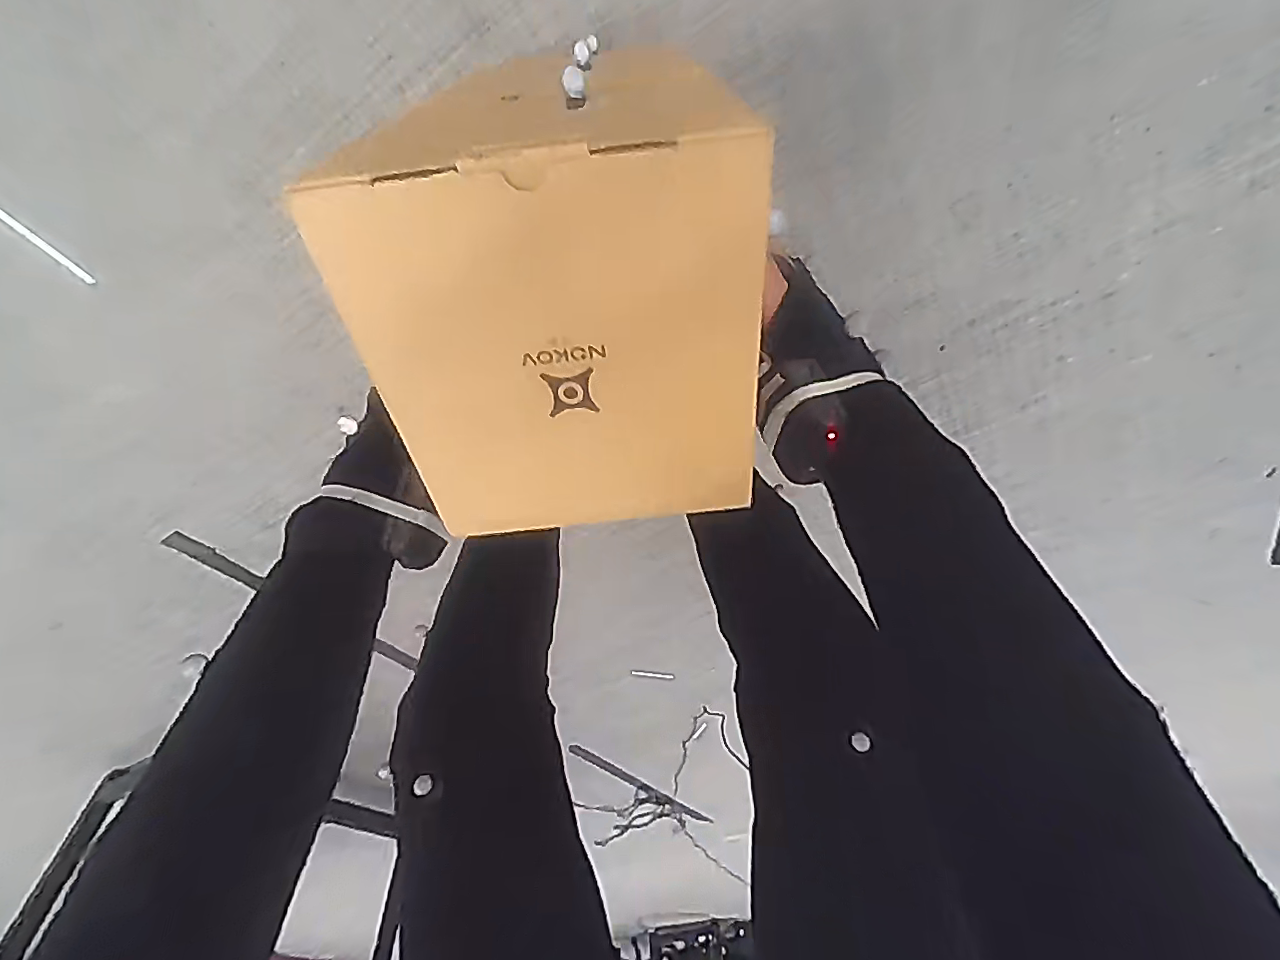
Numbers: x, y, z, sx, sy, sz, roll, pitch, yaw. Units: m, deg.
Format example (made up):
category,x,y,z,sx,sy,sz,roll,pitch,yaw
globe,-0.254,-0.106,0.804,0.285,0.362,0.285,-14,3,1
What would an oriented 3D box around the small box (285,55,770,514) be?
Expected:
category,x,y,z,sx,sy,sz,roll,pitch,yaw
small box,-0.034,-0.105,0.293,0.168,0.176,0.179,-5,132,2
